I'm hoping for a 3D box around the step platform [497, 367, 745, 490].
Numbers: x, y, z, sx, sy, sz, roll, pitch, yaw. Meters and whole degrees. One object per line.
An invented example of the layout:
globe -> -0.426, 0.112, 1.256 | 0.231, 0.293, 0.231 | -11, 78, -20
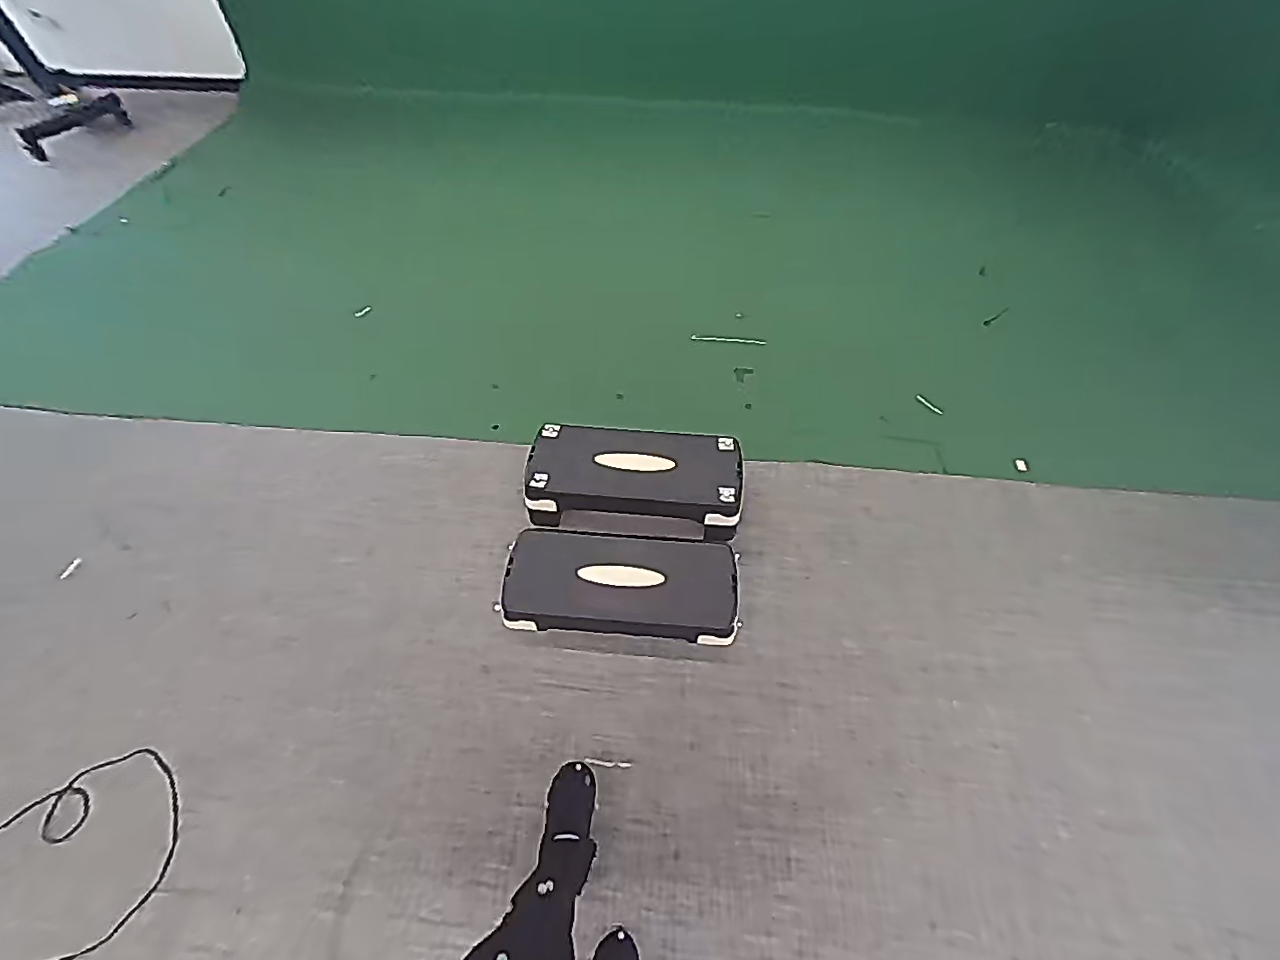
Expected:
step platform -> -0.048, -0.147, 1.578 | 0.684, 0.204, 0.286 | 4, 54, 3
